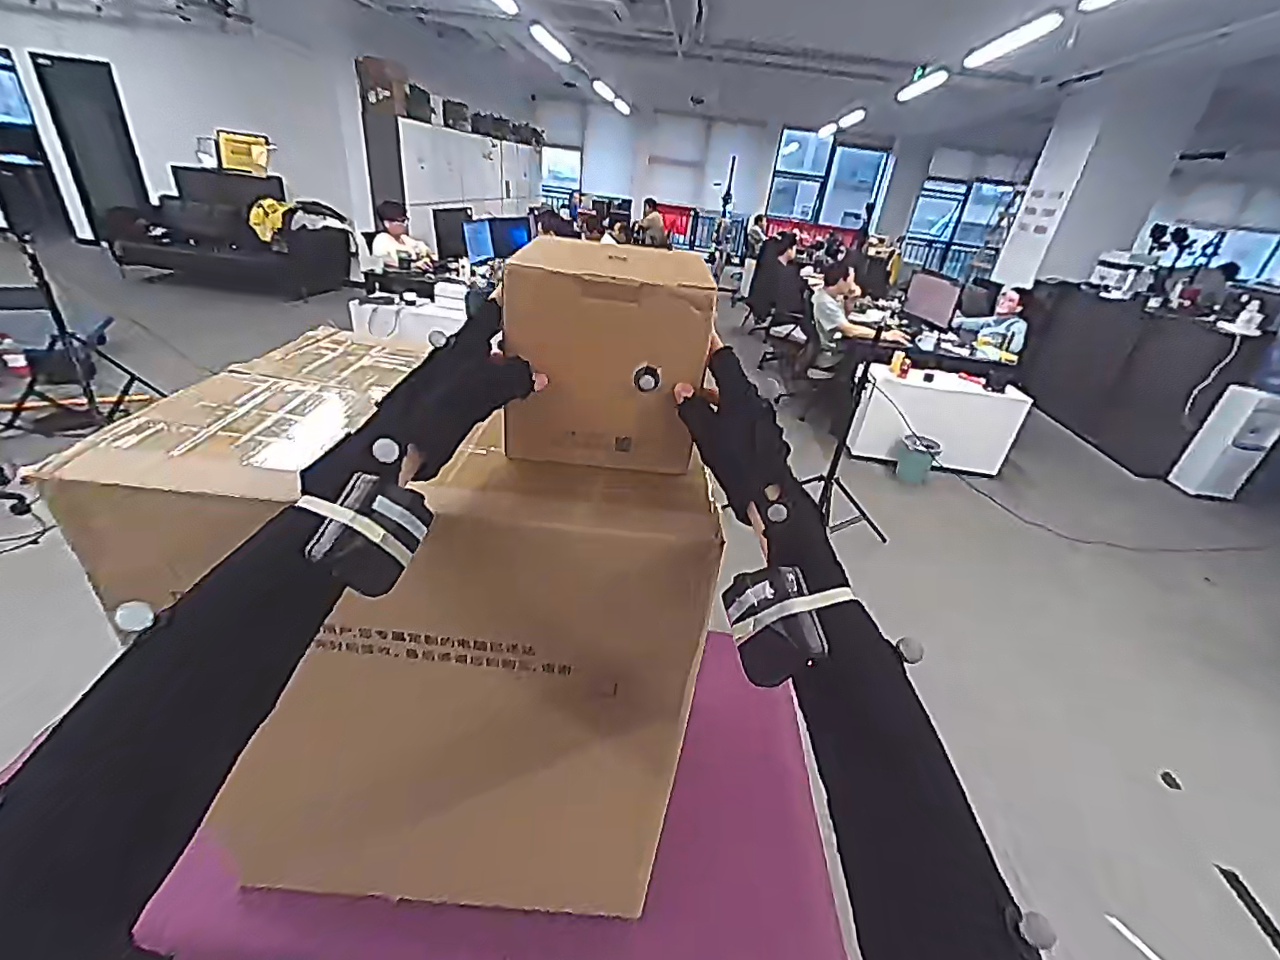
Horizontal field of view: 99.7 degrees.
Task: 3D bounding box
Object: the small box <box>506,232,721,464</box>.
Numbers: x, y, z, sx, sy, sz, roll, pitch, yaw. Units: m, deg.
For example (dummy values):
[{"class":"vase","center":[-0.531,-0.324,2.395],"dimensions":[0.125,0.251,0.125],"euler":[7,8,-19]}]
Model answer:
[{"class":"small box","center":[-0.025,-0.129,0.516],"dimensions":[0.168,0.176,0.179],"euler":[7,30,-3]}]
